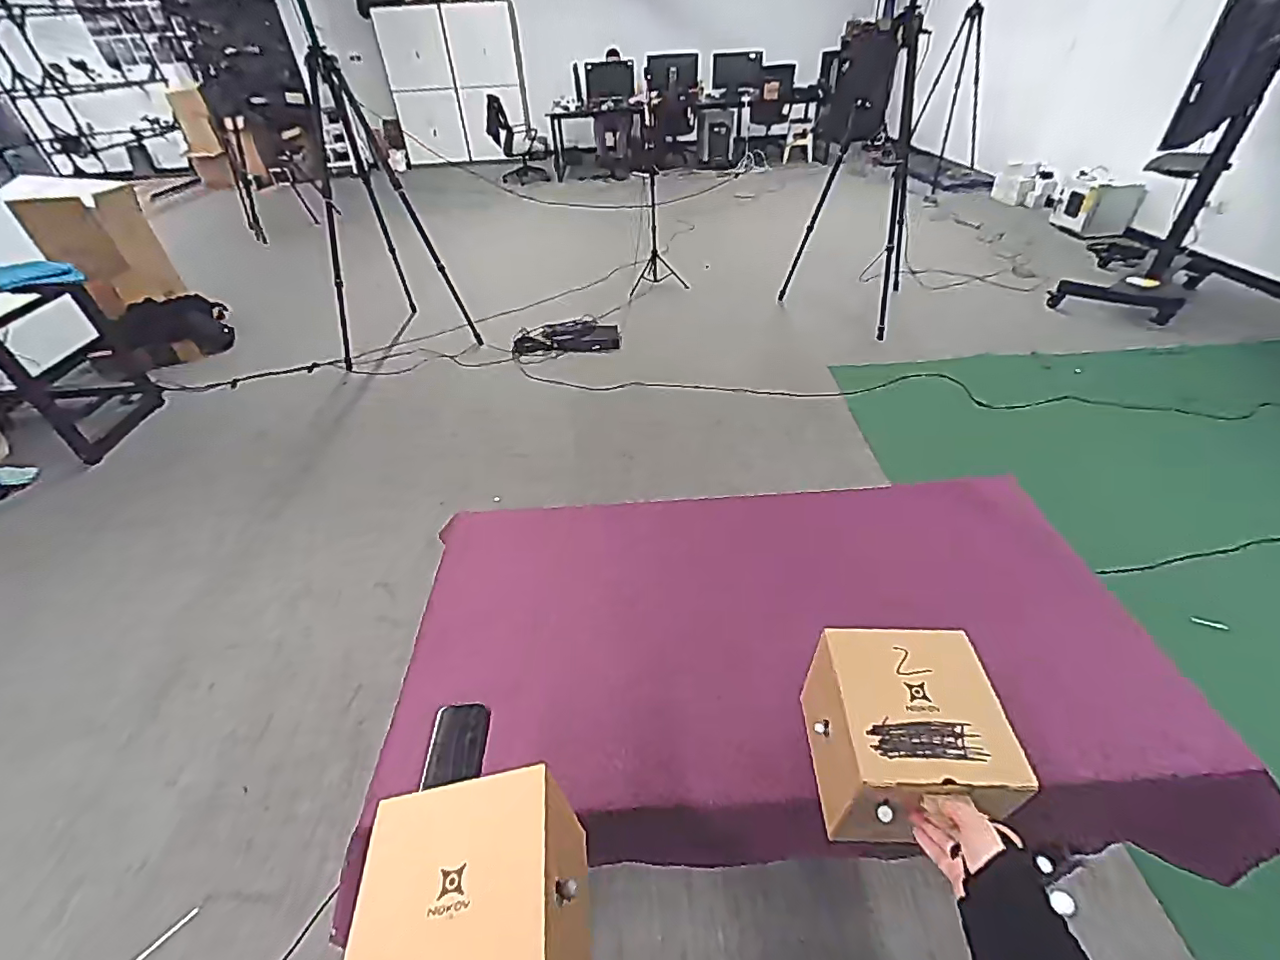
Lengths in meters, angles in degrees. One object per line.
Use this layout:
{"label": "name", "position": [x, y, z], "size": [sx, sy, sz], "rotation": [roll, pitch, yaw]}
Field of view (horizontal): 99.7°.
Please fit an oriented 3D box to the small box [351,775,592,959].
{"label": "small box", "position": [-0.143, 0.416, 0.506], "size": [0.168, 0.176, 0.179], "rotation": [-12, 37, 0]}
